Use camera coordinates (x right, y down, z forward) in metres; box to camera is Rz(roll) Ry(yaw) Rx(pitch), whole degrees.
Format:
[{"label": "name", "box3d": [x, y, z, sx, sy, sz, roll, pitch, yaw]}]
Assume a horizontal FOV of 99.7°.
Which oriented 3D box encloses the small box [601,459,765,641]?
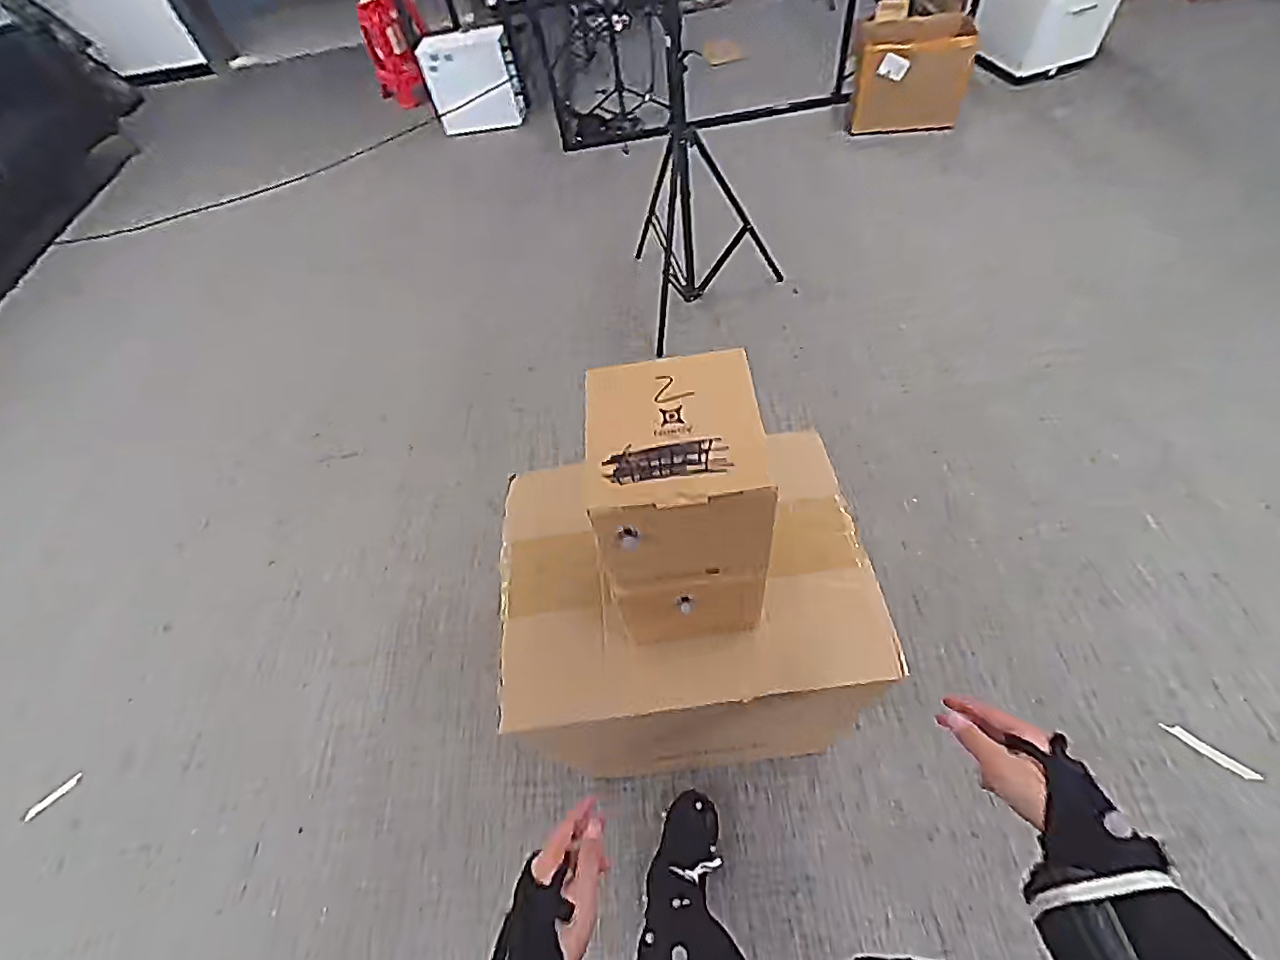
[{"label": "small box", "box3d": [0.052, 0.096, 0.700, 0.179, 0.176, 0.168, -9, 56, 3]}]
